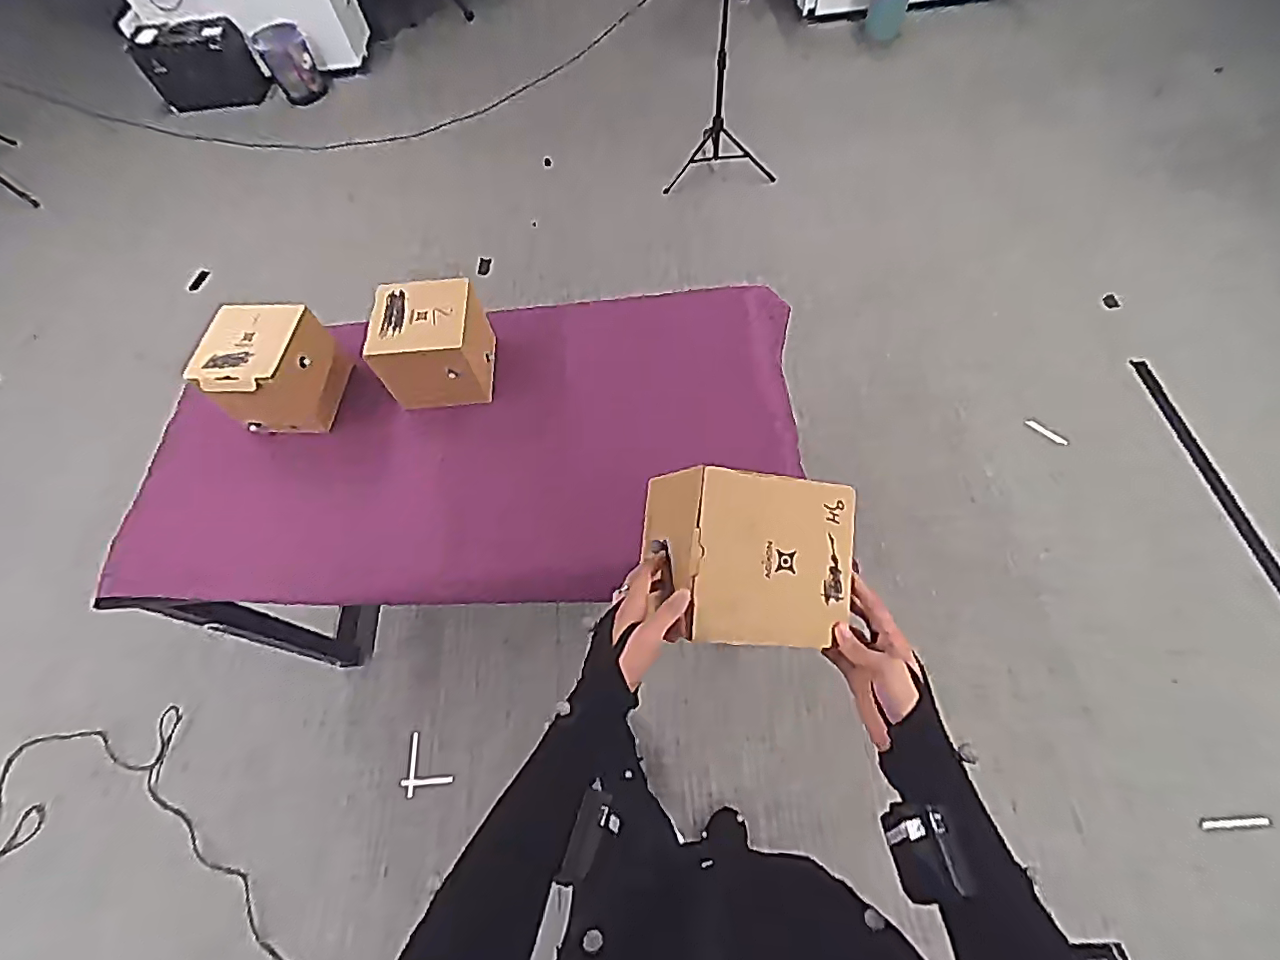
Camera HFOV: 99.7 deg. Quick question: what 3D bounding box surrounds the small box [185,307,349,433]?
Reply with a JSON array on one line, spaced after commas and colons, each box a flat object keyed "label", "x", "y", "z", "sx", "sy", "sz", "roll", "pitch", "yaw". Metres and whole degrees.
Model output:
[{"label": "small box", "x": -0.685, "y": -0.202, "z": 1.021, "sx": 0.168, "sy": 0.176, "sz": 0.179, "roll": 1, "pitch": 62, "yaw": 4}]
